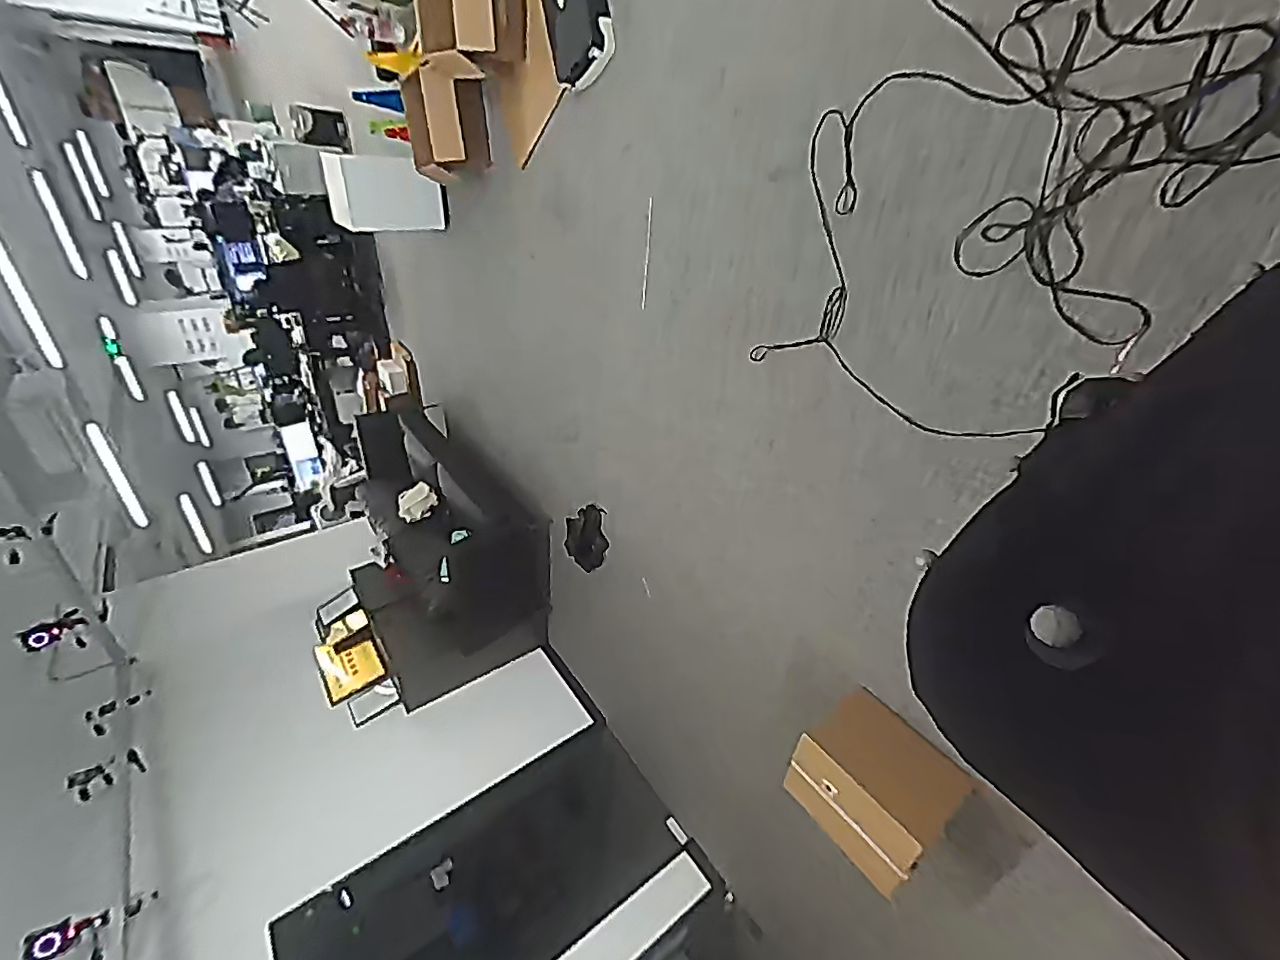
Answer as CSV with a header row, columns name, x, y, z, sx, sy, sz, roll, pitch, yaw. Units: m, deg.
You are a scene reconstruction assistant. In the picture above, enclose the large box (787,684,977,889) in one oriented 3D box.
name,x,y,z,sx,sy,sz,roll,pitch,yaw
large box,0.748,0.945,1.711,0.408,0.320,0.320,39,135,41
